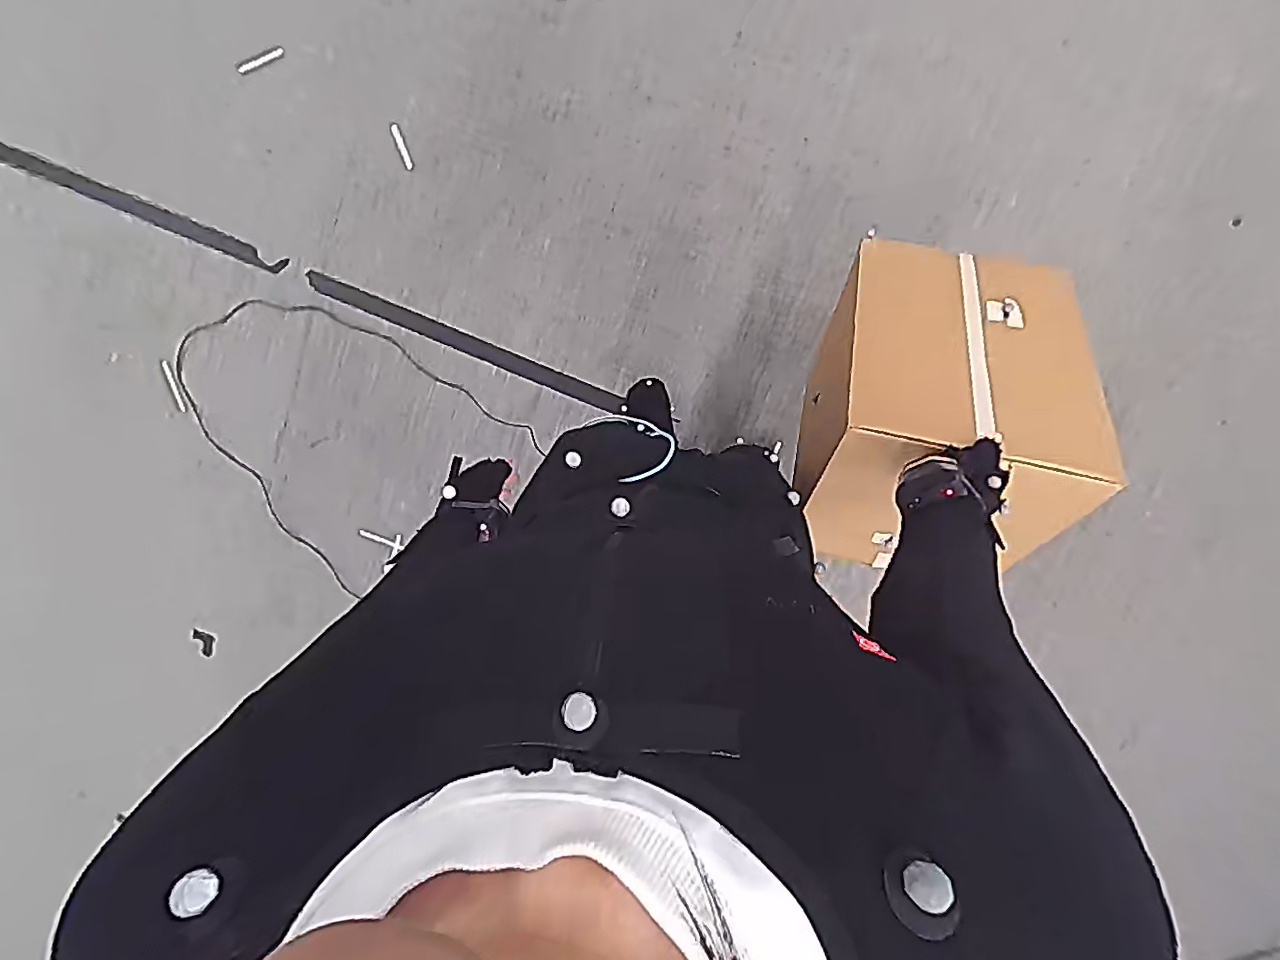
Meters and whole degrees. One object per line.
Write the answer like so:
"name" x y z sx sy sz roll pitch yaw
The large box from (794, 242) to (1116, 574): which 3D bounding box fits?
"large box" 0.448 -0.113 0.873 0.320 0.320 0.408 13 57 6
